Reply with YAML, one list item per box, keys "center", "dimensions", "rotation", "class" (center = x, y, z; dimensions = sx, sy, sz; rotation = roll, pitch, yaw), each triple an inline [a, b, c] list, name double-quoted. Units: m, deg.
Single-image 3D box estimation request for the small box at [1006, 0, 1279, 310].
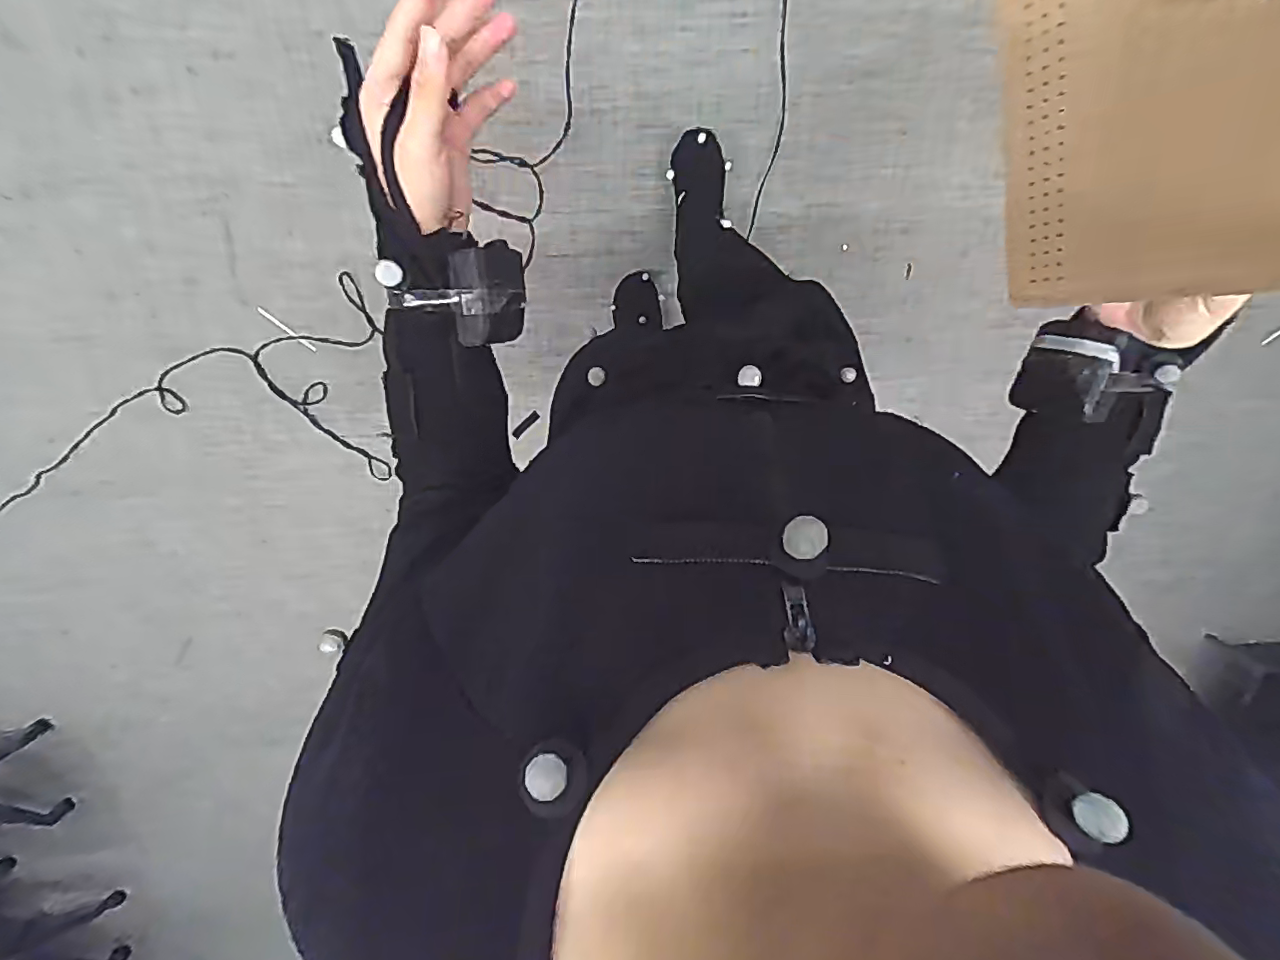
- center: [0.278, -0.178, 0.210]
  dimensions: [0.168, 0.176, 0.179]
  rotation: [-20, 108, -12]
  class: "small box"
